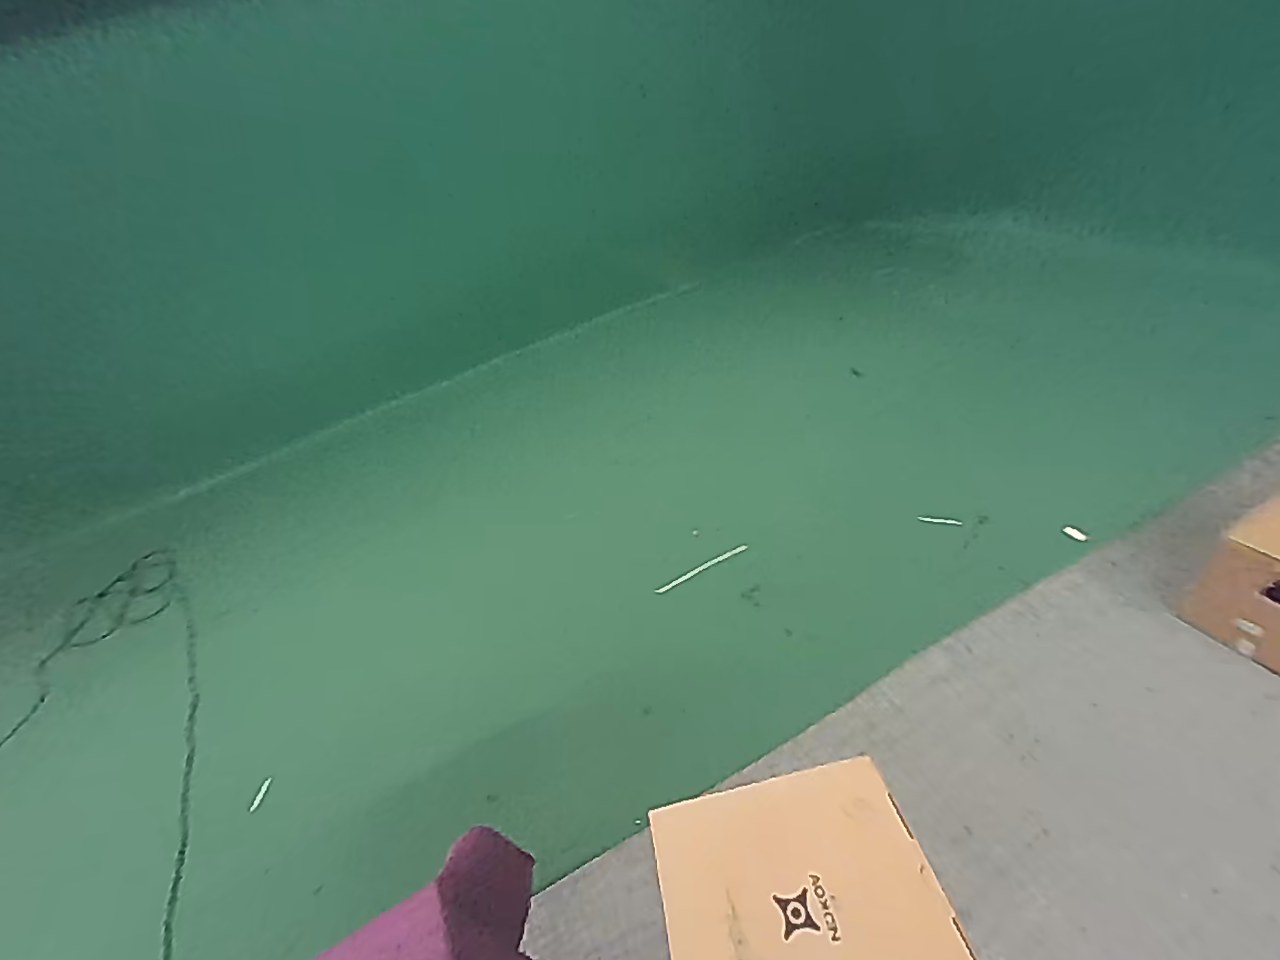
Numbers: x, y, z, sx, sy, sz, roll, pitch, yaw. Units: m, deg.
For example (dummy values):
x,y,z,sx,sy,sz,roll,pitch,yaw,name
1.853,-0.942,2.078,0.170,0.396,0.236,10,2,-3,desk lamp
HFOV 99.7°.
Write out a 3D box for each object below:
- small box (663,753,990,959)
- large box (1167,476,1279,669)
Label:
x,y,z,sx,sy,sz,roll,pitch,yaw,name
0.126,0.334,0.387,0.179,0.176,0.168,-15,34,1,small box
1.636,0.217,1.319,0.408,0.320,0.320,-26,40,-13,large box
